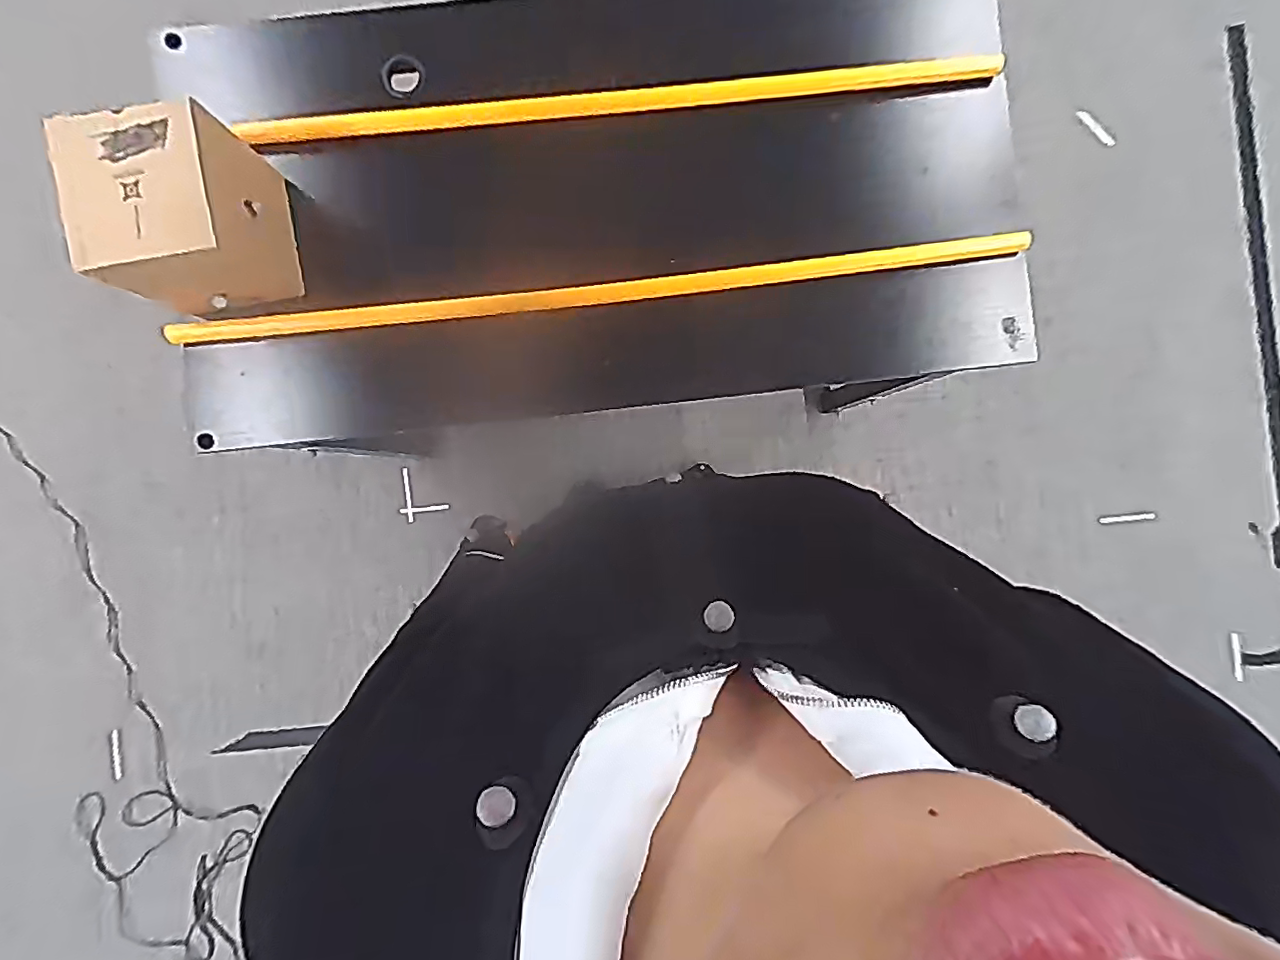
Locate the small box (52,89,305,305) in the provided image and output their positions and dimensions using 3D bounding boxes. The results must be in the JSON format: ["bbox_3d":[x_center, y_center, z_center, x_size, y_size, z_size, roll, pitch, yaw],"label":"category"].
[{"bbox_3d":[-0.564,-0.343,0.686,0.168,0.176,0.179,-10,91,0],"label":"small box"}]
